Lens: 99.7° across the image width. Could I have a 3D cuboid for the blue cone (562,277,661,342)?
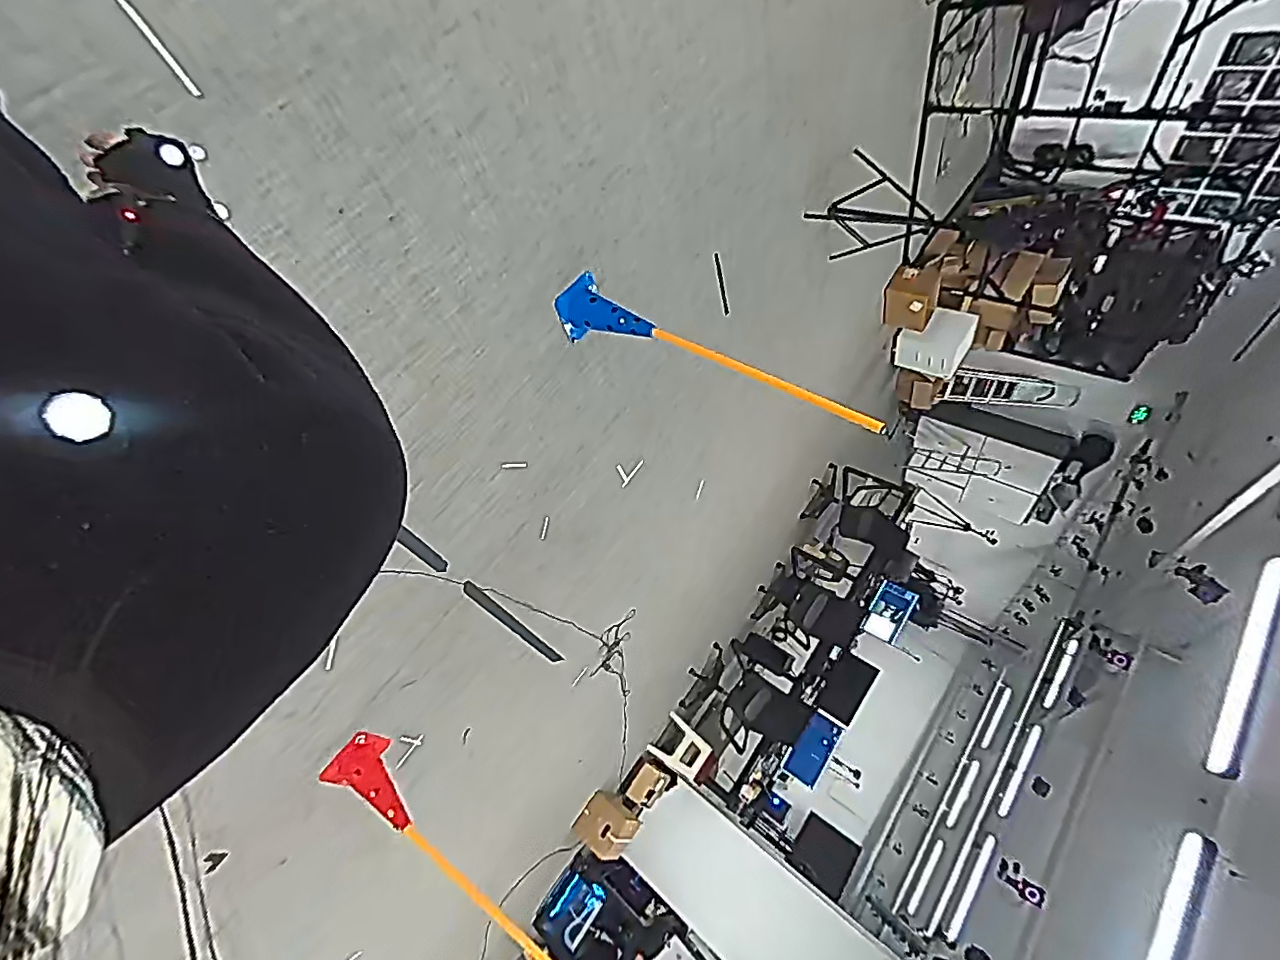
[{"bbox_3d":[-0.082,-0.566,1.907,0.193,0.380,0.192,-49,146,-21],"label":"blue cone"}]
